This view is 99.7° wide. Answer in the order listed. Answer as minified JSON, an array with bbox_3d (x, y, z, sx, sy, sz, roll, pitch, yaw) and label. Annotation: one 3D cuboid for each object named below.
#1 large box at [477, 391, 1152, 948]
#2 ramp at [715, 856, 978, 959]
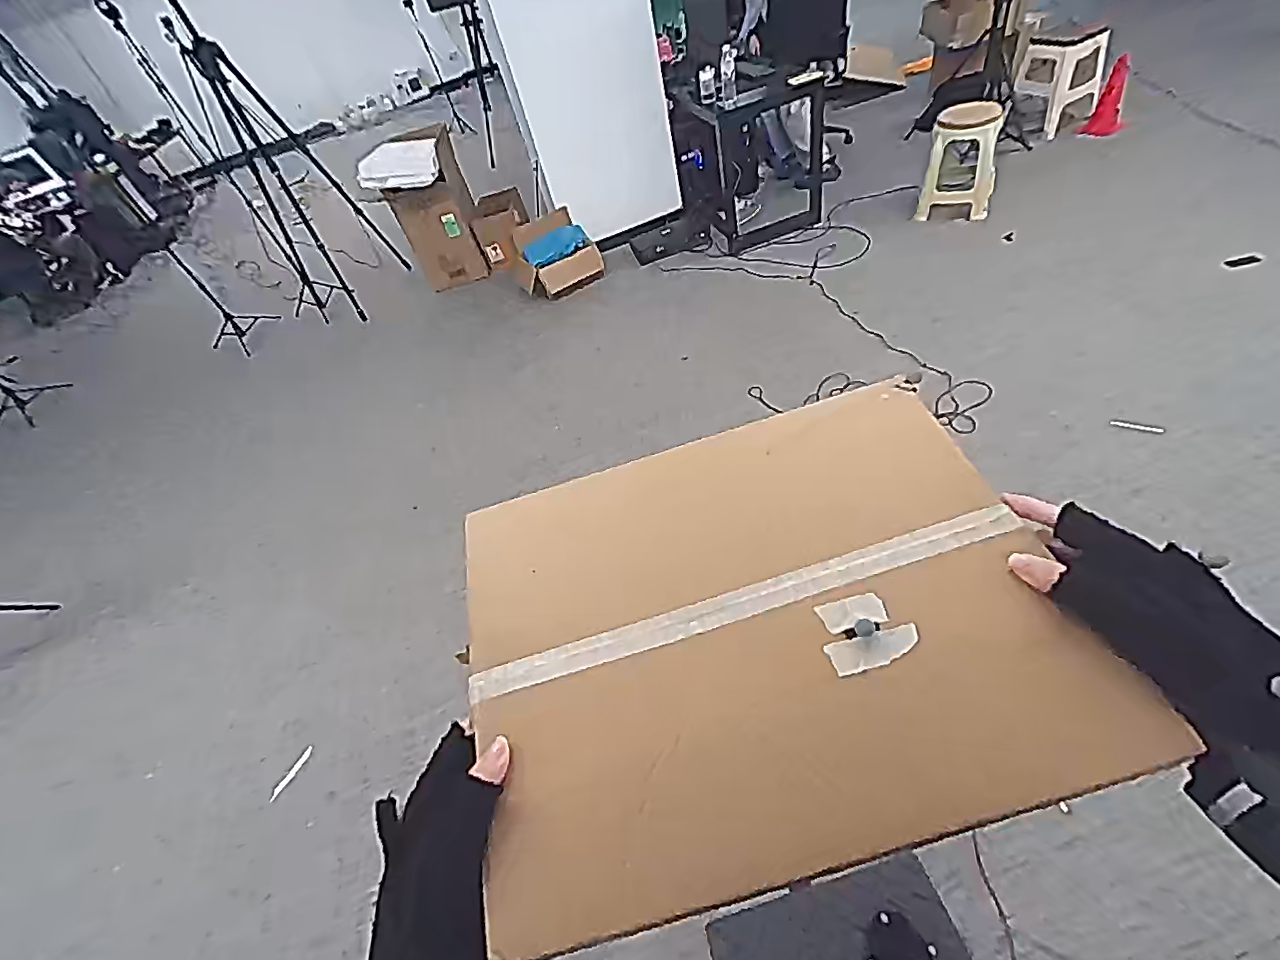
[{"bbox_3d":[0.103,0.180,0.520,0.408,0.320,0.320,-18,53,0],"label":"large box"},{"bbox_3d":[0.482,1.177,0.785,0.509,0.206,0.991,-22,45,0],"label":"ramp"}]
